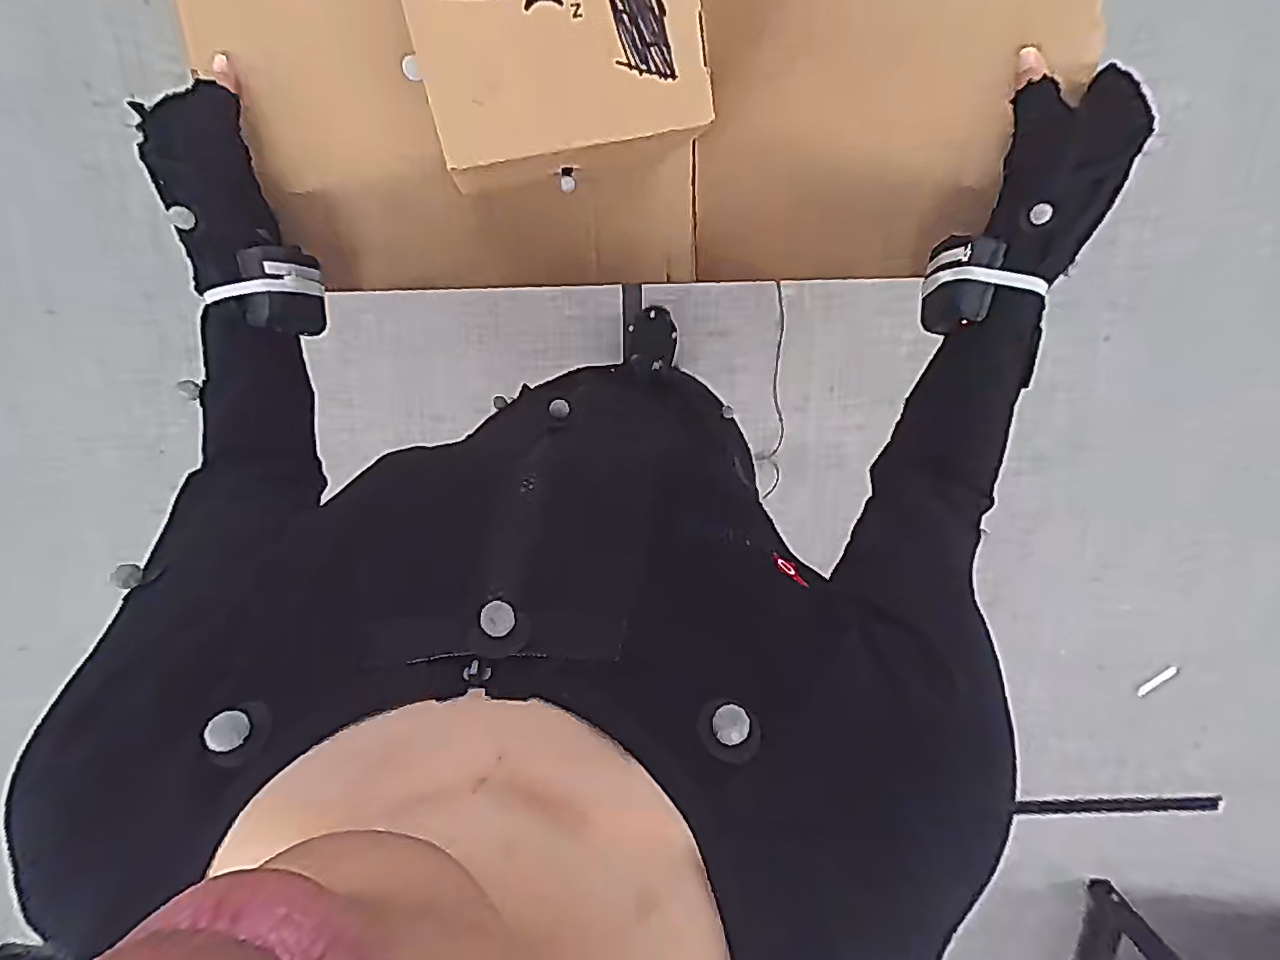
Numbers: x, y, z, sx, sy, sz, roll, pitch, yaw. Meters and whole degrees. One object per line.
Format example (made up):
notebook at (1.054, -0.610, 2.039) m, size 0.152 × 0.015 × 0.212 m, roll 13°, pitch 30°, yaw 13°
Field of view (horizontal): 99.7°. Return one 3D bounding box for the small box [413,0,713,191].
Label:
small box at (-0.064, -0.324, 0.393) m, size 0.179 × 0.176 × 0.168 m, roll -14°, pitch 112°, yaw -7°
